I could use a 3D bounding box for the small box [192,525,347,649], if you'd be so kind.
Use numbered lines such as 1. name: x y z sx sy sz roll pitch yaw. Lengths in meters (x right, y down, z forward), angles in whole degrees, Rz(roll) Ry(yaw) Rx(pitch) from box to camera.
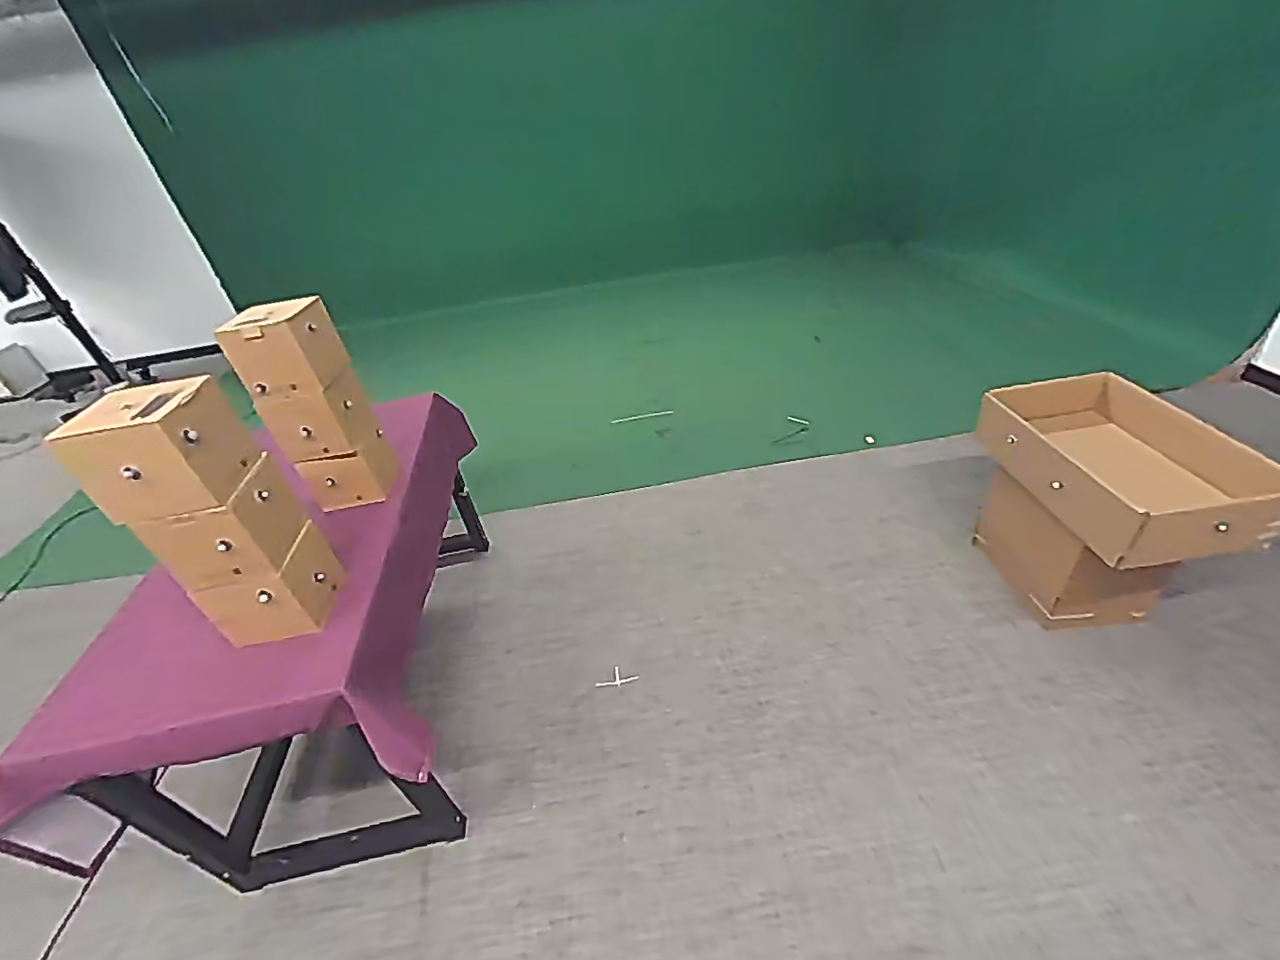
1. small box: -0.737 0.218 1.104 0.179 0.176 0.168 -11 36 0

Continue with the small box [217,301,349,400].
1. small box: -0.814 -0.294 1.257 0.168 0.176 0.179 -9 35 2

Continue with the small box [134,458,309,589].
1. small box: -0.761 0.086 1.012 0.168 0.176 0.179 -10 36 -2

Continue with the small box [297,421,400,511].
1. small box: -0.768 -0.031 1.450 0.168 0.176 0.179 -11 36 -2

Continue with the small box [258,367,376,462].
1. small box: -0.791 -0.158 1.347 0.168 0.176 0.179 -9 37 1
